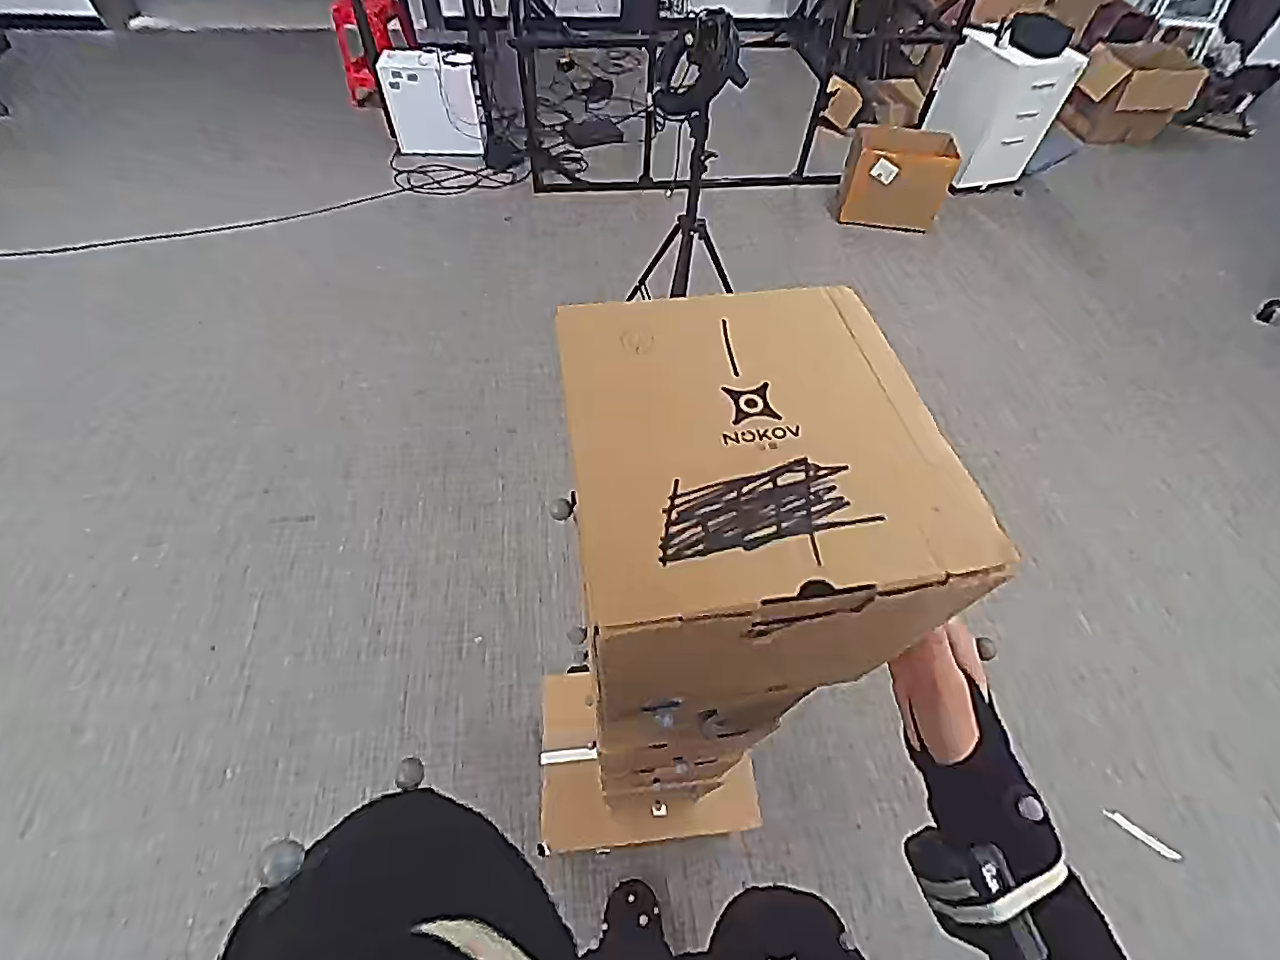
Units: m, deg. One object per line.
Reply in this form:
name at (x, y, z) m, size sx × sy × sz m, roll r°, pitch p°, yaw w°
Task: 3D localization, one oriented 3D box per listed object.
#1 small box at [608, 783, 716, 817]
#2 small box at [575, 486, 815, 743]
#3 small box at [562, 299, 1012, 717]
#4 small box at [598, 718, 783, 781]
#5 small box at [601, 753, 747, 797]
small box at (0.026, 0.501, 0.978) m, size 0.179 × 0.176 × 0.168 m, roll -5°, pitch 56°, yaw -7°
small box at (0.038, 0.111, 0.453) m, size 0.168 × 0.176 × 0.179 m, roll -6°, pitch 57°, yaw -7°
small box at (0.050, 0.025, 0.311) m, size 0.168 × 0.176 × 0.179 m, roll -7°, pitch 56°, yaw -7°
small box at (0.033, 0.208, 0.584) m, size 0.168 × 0.176 × 0.179 m, roll -6°, pitch 56°, yaw -6°
small box at (0.028, 0.305, 0.717) m, size 0.168 × 0.176 × 0.179 m, roll -5°, pitch 56°, yaw -6°
